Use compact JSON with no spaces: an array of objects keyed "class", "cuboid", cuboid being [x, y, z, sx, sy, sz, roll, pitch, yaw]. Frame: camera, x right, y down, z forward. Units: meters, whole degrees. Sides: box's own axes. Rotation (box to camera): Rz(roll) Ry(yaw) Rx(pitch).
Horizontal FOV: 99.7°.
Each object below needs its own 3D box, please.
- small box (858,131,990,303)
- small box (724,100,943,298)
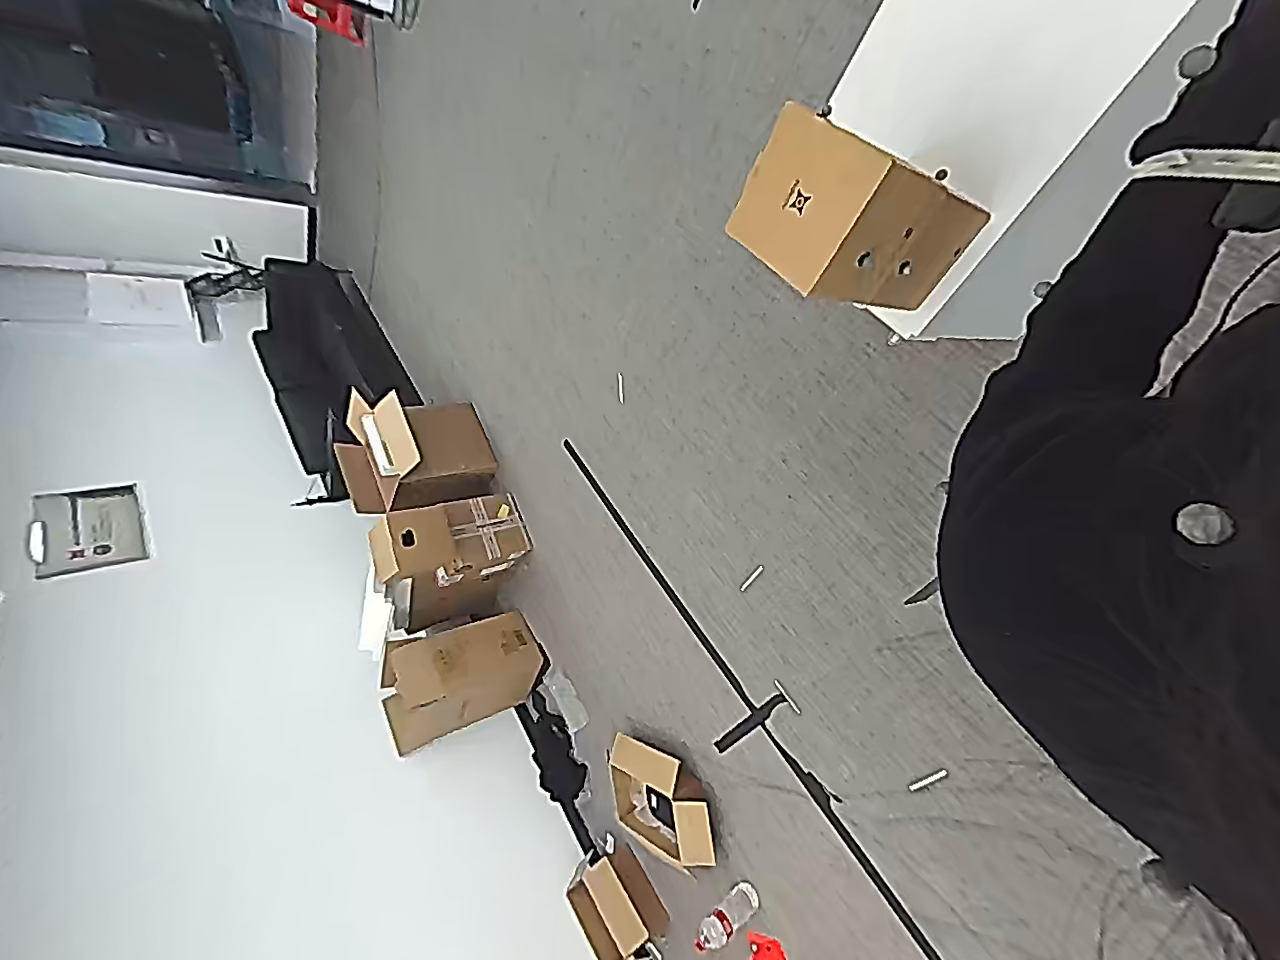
[{"class":"small box","cuboid":[0.375,-0.384,0.817,0.179,0.176,0.168,55,135,27]},{"class":"small box","cuboid":[0.253,-0.358,0.712,0.179,0.176,0.168,53,134,28]}]
